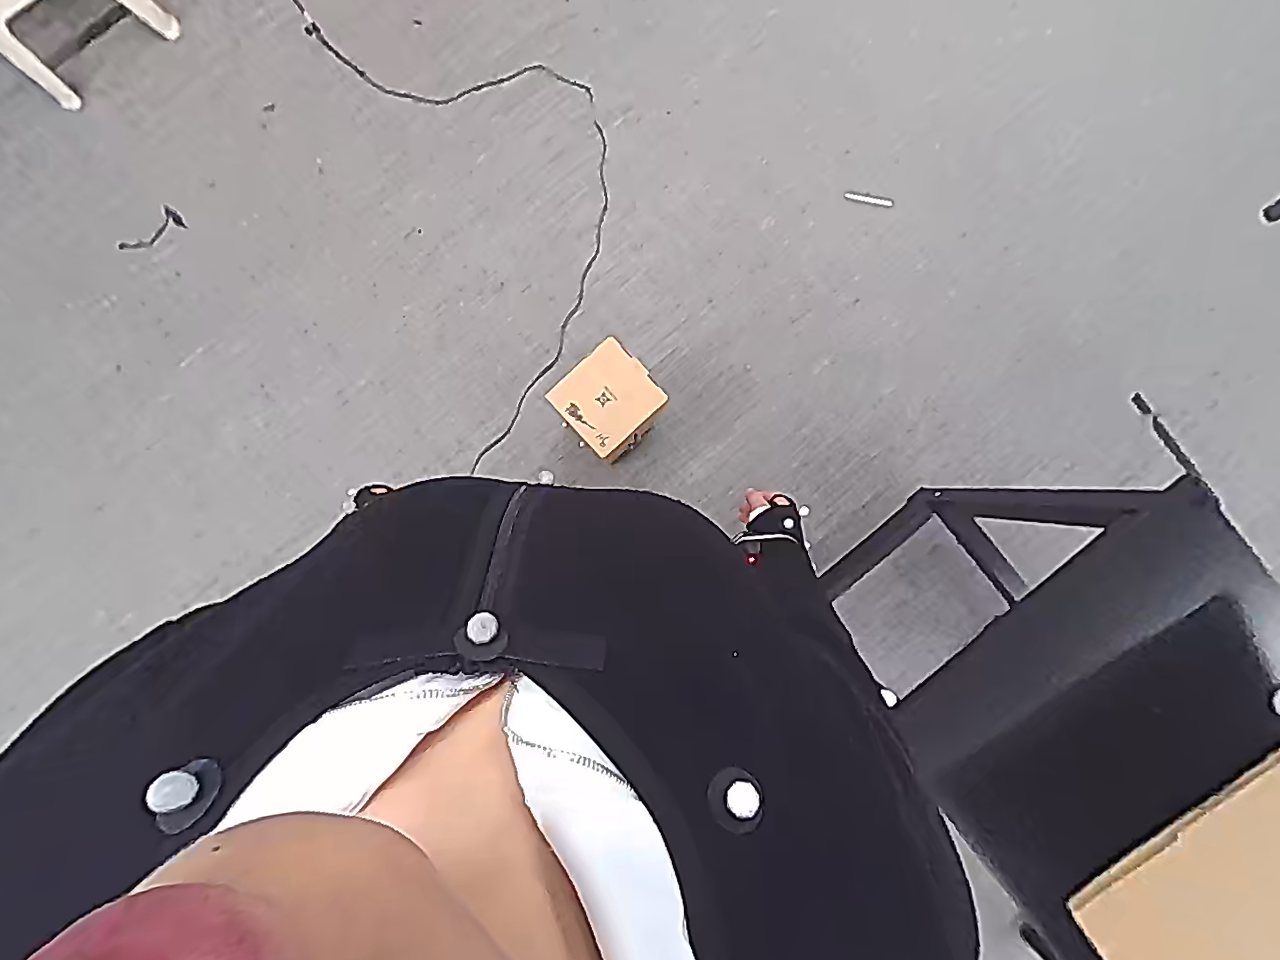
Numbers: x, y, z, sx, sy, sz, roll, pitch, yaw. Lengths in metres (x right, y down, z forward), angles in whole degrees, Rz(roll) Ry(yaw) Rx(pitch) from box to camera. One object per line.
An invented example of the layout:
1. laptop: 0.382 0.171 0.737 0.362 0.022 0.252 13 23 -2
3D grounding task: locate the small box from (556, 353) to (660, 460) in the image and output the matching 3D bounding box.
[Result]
1. small box: -0.073 -0.162 1.271 0.168 0.176 0.179 44 86 -1

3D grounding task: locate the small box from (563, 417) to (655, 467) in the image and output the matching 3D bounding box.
1. small box: -0.082 -0.152 1.432 0.179 0.176 0.168 -42 90 -2
